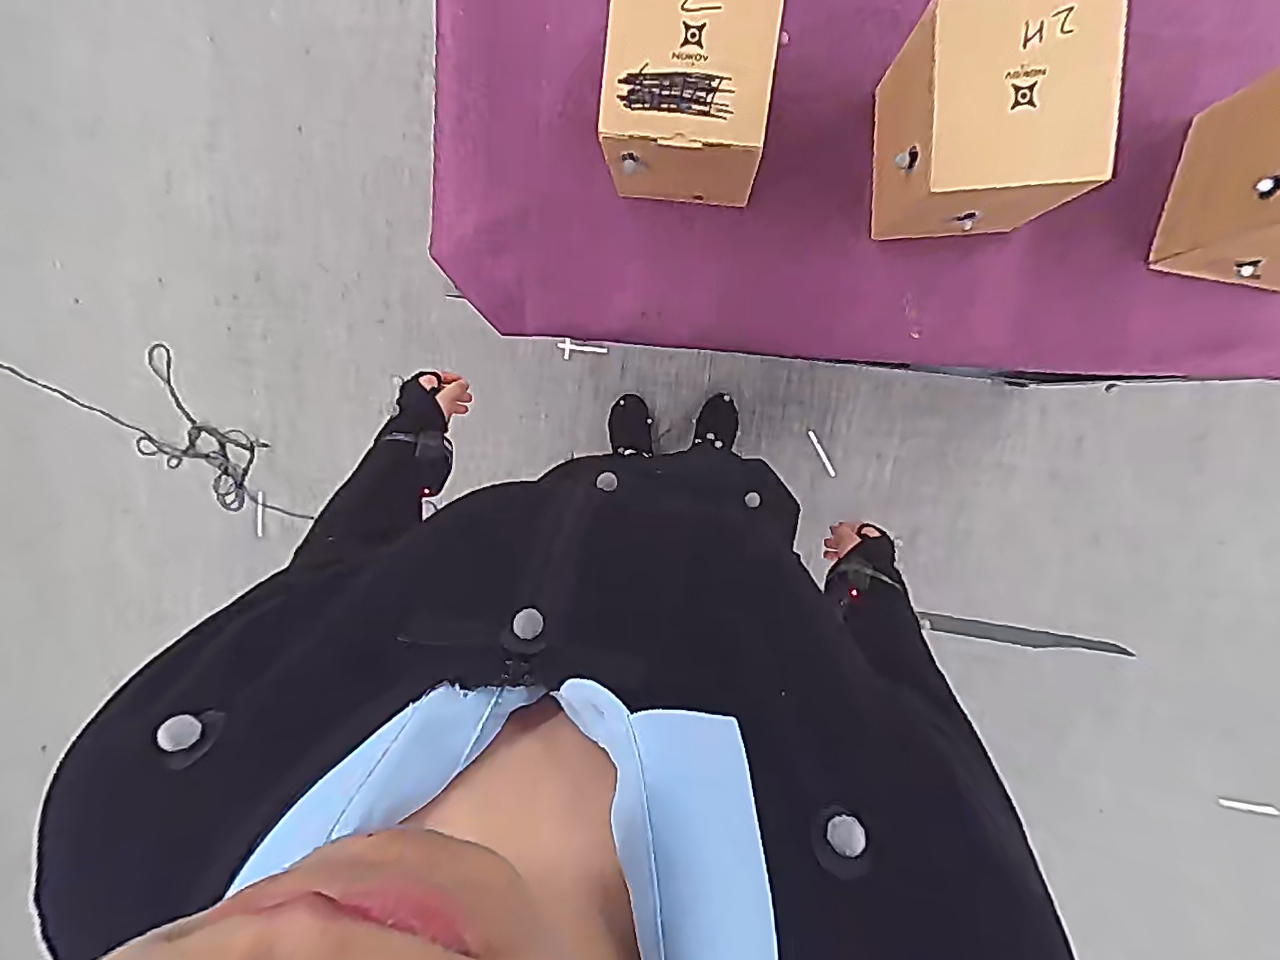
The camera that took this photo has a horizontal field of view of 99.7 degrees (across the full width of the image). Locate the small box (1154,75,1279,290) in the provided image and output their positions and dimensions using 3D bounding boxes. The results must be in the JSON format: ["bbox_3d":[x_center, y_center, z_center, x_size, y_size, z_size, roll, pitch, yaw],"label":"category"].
[{"bbox_3d":[0.702,-0.316,0.561,0.168,0.176,0.179,12,98,3],"label":"small box"}]

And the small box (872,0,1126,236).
[{"bbox_3d":[0.362,-0.374,0.580,0.168,0.176,0.179,-2,98,5],"label":"small box"}]
